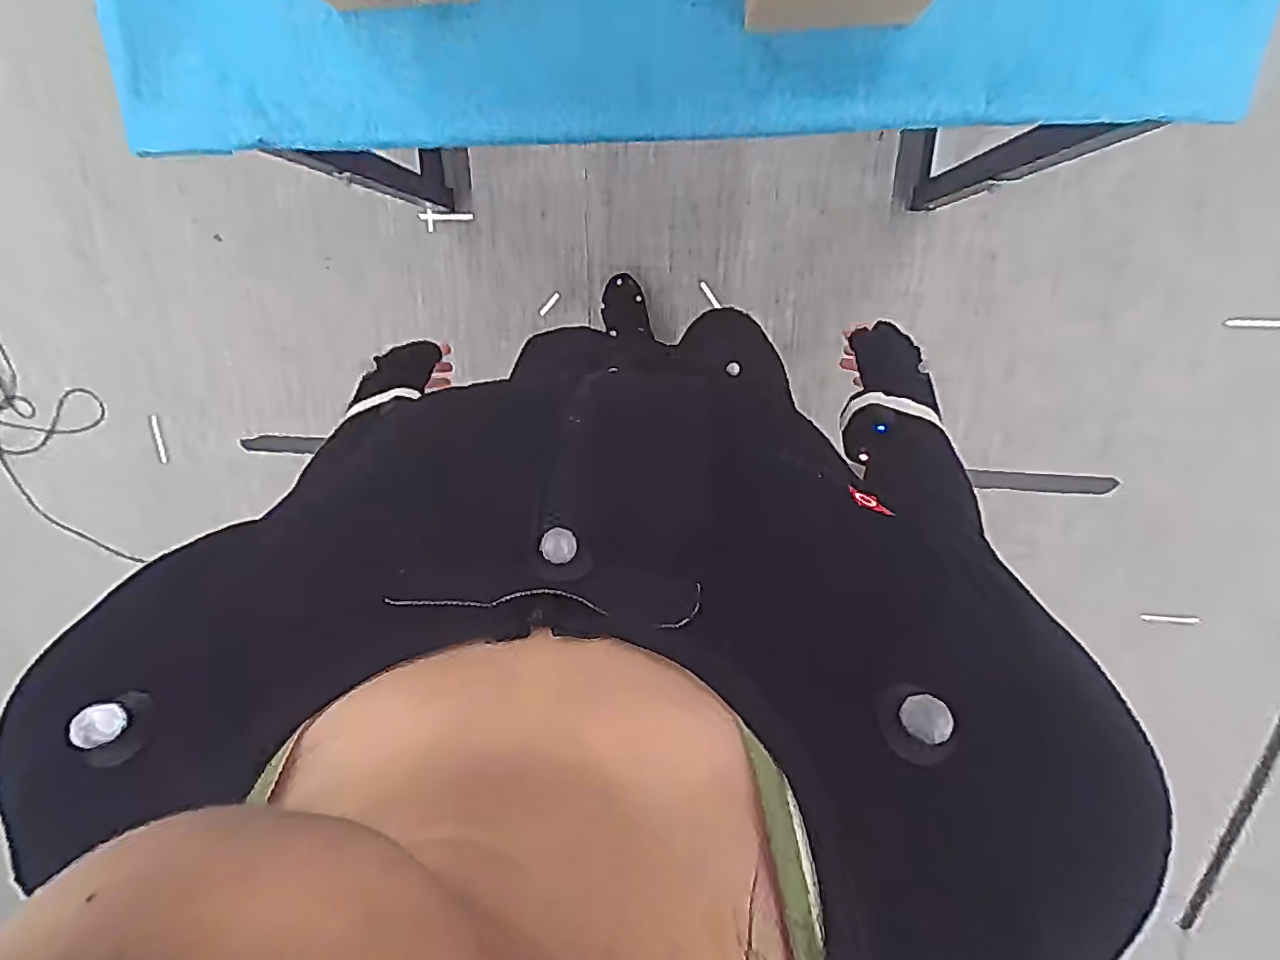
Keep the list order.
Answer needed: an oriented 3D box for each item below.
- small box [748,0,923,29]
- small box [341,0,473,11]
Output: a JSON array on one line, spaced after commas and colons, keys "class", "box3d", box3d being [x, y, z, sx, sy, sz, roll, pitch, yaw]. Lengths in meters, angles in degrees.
[{"class": "small box", "box3d": [0.189, -0.519, 0.460, 0.179, 0.176, 0.168, 2, 109, 4]}, {"class": "small box", "box3d": [-0.258, -0.567, 0.481, 0.168, 0.176, 0.179, 4, 111, 4]}]
